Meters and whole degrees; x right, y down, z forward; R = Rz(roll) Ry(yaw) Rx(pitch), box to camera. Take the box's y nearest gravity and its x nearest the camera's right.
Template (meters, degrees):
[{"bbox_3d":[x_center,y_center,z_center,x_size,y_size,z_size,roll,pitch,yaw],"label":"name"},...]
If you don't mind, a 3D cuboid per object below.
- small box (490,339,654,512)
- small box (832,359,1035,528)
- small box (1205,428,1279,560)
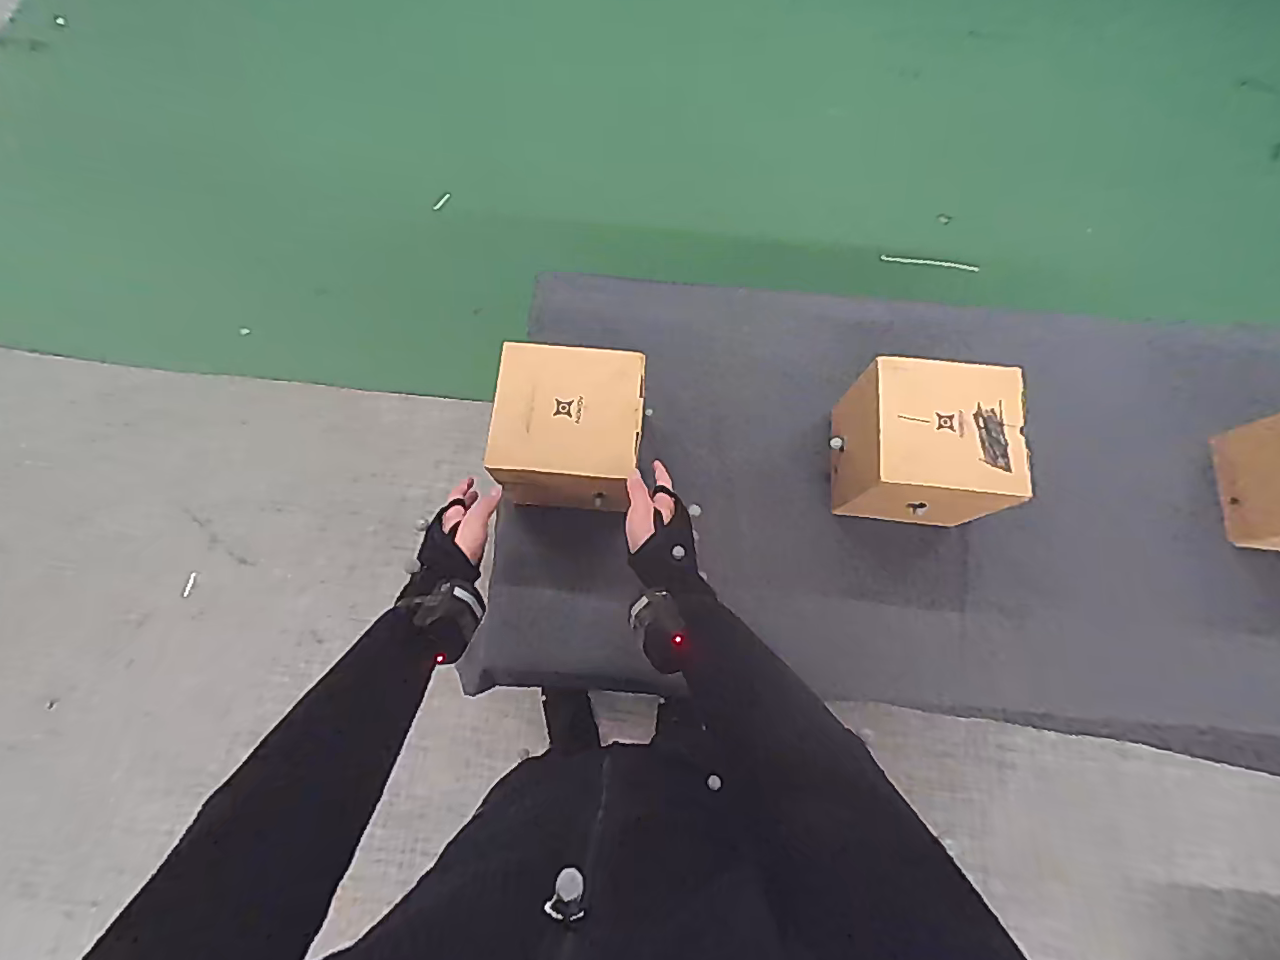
[{"bbox_3d":[-0.078,-0.061,0.705,0.179,0.176,0.168,4,71,0],"label":"small box"},{"bbox_3d":[0.373,-0.037,0.715,0.179,0.176,0.168,7,73,1],"label":"small box"},{"bbox_3d":[0.929,0.016,0.718,0.179,0.176,0.168,7,73,0],"label":"small box"}]
